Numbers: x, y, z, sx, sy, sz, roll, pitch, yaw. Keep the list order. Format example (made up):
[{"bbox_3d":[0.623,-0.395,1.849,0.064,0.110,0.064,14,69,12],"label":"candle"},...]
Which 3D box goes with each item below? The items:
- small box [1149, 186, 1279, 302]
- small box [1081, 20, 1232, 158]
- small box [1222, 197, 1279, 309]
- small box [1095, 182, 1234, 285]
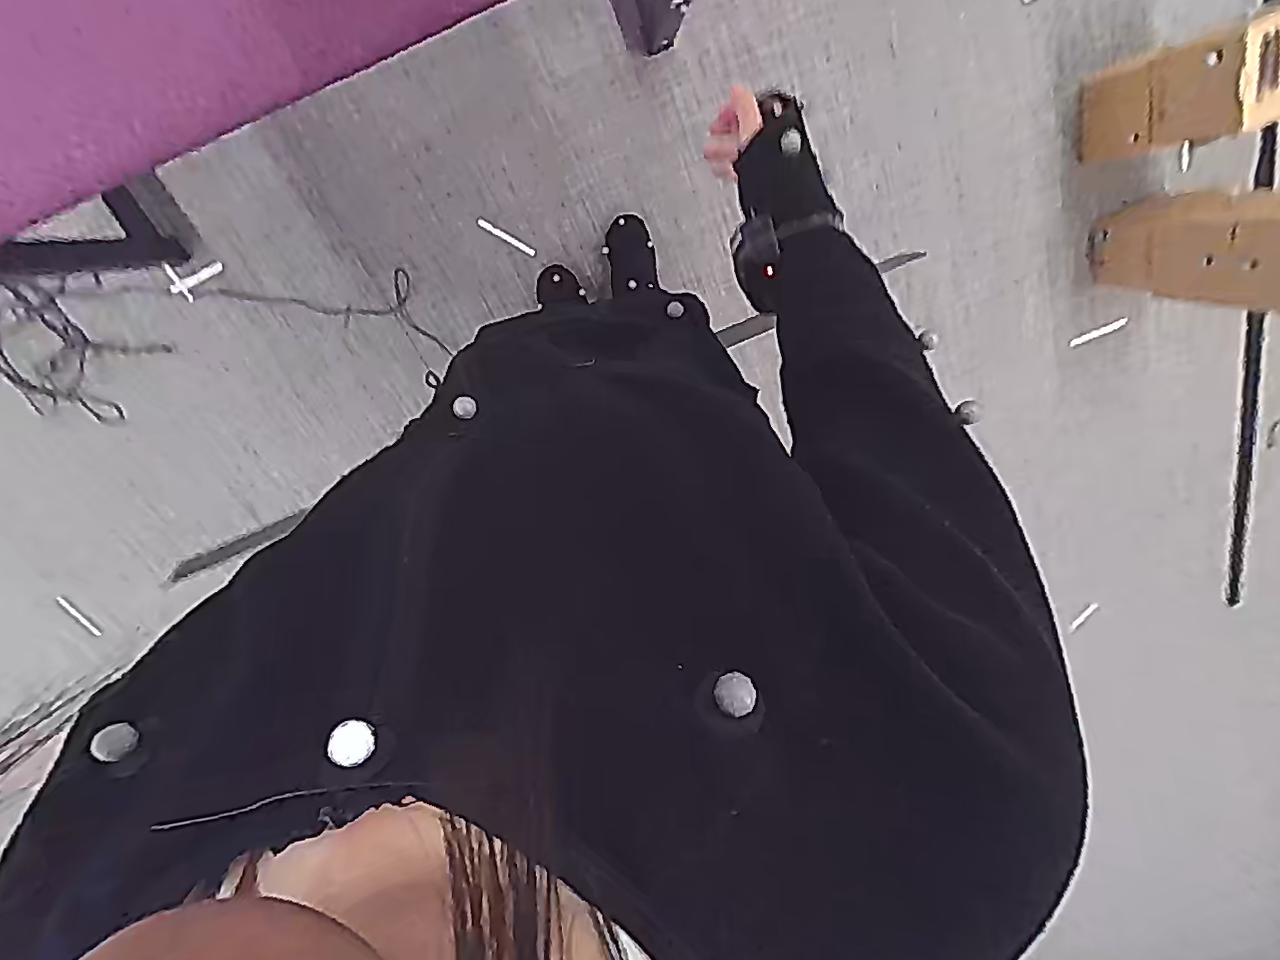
[{"bbox_3d":[1.220,-0.494,1.129,0.168,0.176,0.179,-21,116,5],"label":"small box"},{"bbox_3d":[1.081,-0.815,1.148,0.168,0.176,0.179,-22,116,5],"label":"small box"},{"bbox_3d":[1.231,-0.423,0.982,0.168,0.176,0.179,-18,117,3],"label":"small box"},{"bbox_3d":[1.220,-0.575,1.273,0.179,0.176,0.168,-24,116,5],"label":"small box"}]
